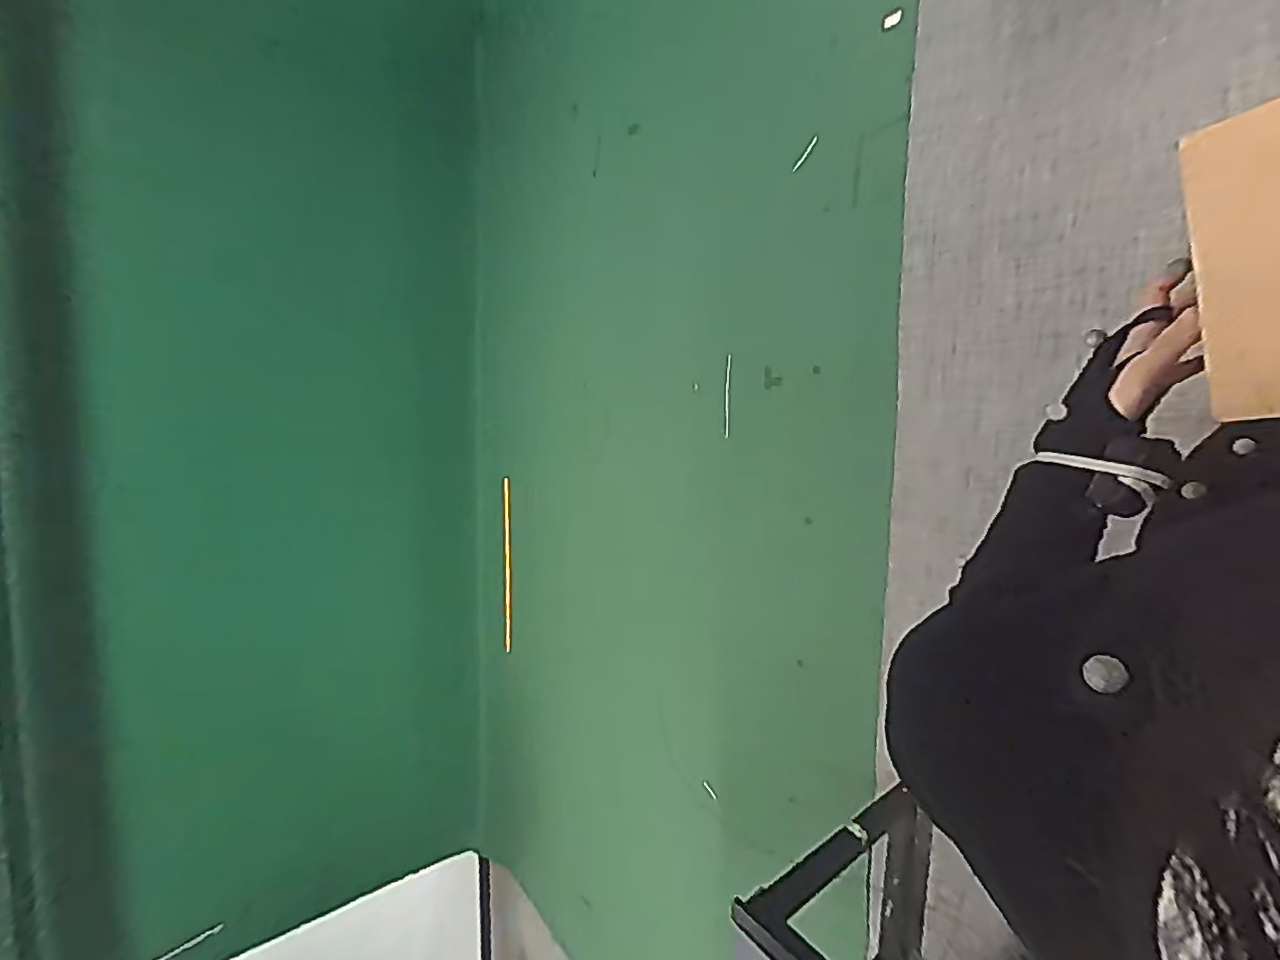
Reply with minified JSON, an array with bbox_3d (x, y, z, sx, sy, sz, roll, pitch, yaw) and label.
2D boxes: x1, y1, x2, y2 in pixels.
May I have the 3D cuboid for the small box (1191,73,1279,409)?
[{"bbox_3d":[0.439,-0.155,0.301,0.168,0.176,0.179,-6,105,52],"label":"small box"}]
